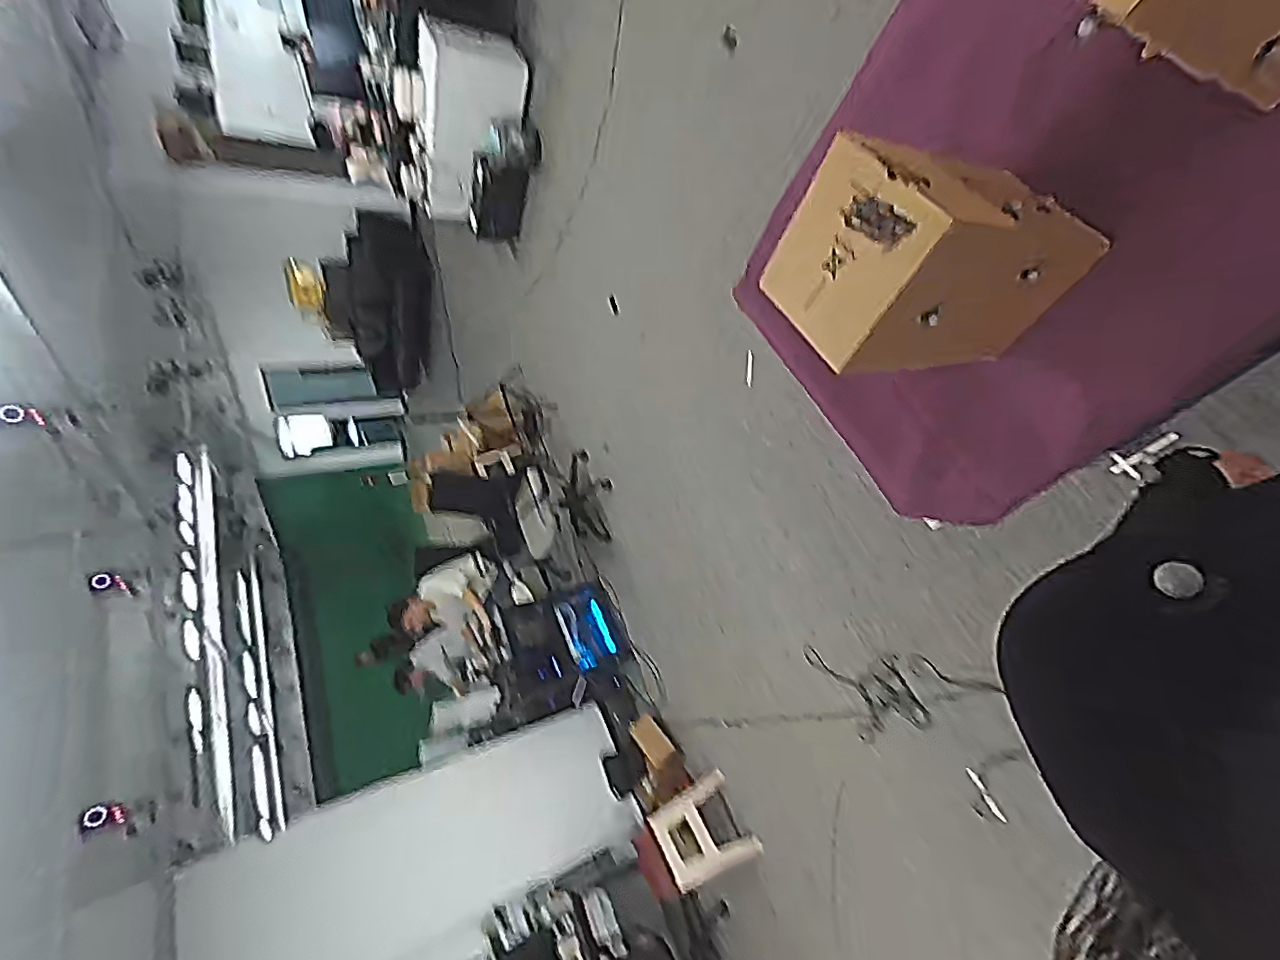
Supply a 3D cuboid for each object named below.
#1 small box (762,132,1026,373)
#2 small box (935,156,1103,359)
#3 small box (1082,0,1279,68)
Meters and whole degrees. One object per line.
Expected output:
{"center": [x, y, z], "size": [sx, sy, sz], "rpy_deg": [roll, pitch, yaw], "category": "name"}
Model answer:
{"center": [0.276, -0.240, 0.593], "size": [0.168, 0.176, 0.179], "rpy_deg": [62, 146, 29], "category": "small box"}
{"center": [0.413, -0.267, 0.679], "size": [0.168, 0.176, 0.179], "rpy_deg": [61, 145, 29], "category": "small box"}
{"center": [0.379, -0.421, 0.354], "size": [0.168, 0.176, 0.179], "rpy_deg": [66, 148, 25], "category": "small box"}
